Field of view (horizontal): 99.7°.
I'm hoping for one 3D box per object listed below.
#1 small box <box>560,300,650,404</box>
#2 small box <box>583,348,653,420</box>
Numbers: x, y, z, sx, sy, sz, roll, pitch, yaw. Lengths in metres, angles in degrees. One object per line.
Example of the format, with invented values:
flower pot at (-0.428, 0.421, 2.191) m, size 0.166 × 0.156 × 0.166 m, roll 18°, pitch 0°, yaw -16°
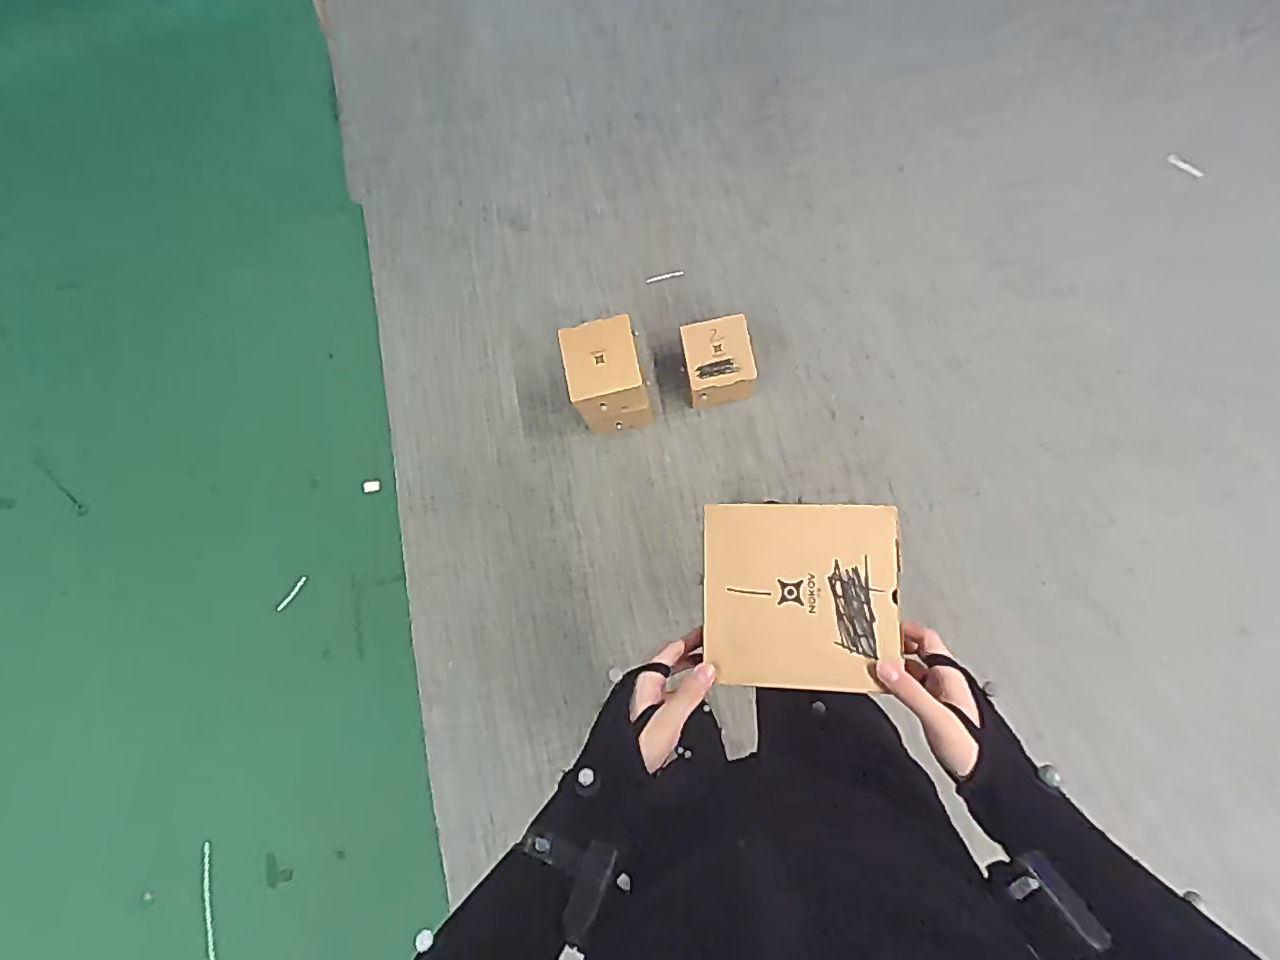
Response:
small box at (-0.075, -0.285, 1.255) m, size 0.168 × 0.176 × 0.179 m, roll -11°, pitch 81°, yaw 5°
small box at (-0.060, -0.262, 1.415) m, size 0.168 × 0.176 × 0.179 m, roll -8°, pitch 81°, yaw 4°
